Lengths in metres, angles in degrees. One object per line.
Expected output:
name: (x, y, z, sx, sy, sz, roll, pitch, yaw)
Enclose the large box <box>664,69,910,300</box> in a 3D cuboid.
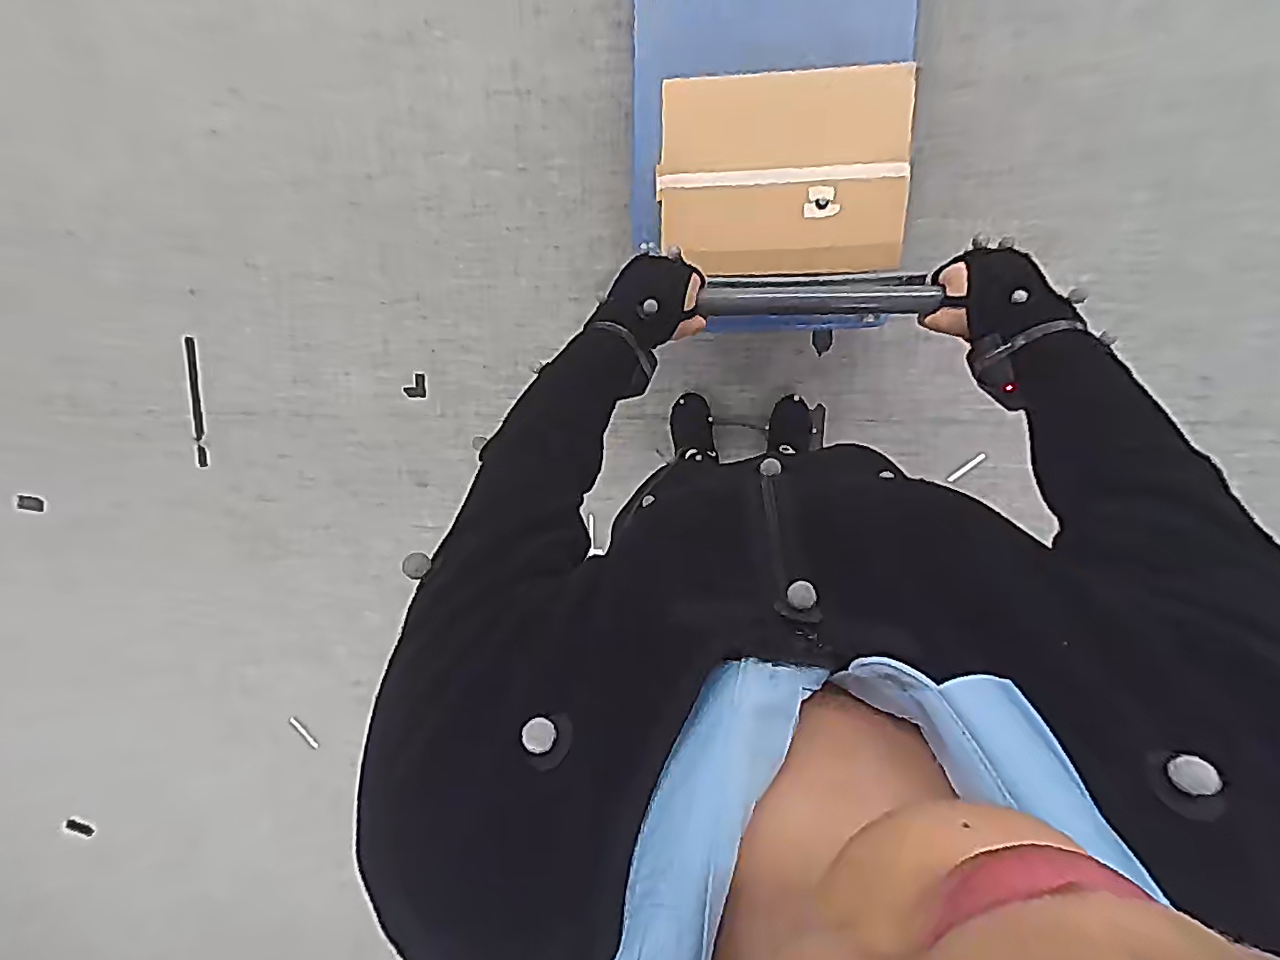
large box: (0.257, -0.541, 1.066, 0.408, 0.320, 0.320, 1, 102, 6)
